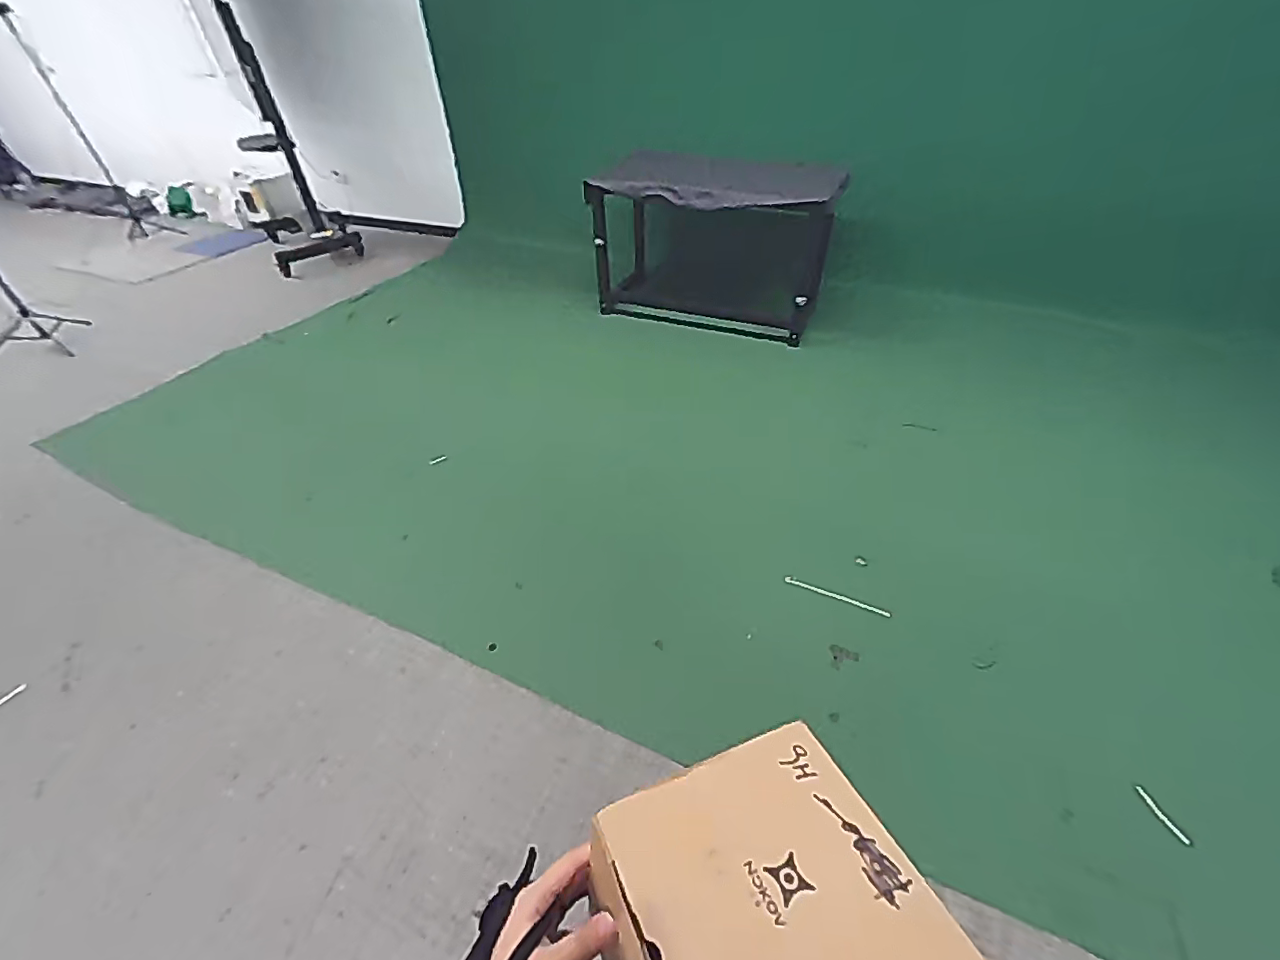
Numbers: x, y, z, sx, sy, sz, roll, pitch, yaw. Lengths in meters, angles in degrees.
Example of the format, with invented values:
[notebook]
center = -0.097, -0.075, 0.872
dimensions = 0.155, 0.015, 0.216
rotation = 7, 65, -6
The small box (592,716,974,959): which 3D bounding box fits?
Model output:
[small box]
center = 0.076, 0.310, 0.376
dimensions = 0.179, 0.176, 0.168
rotation = -12, 37, -23
